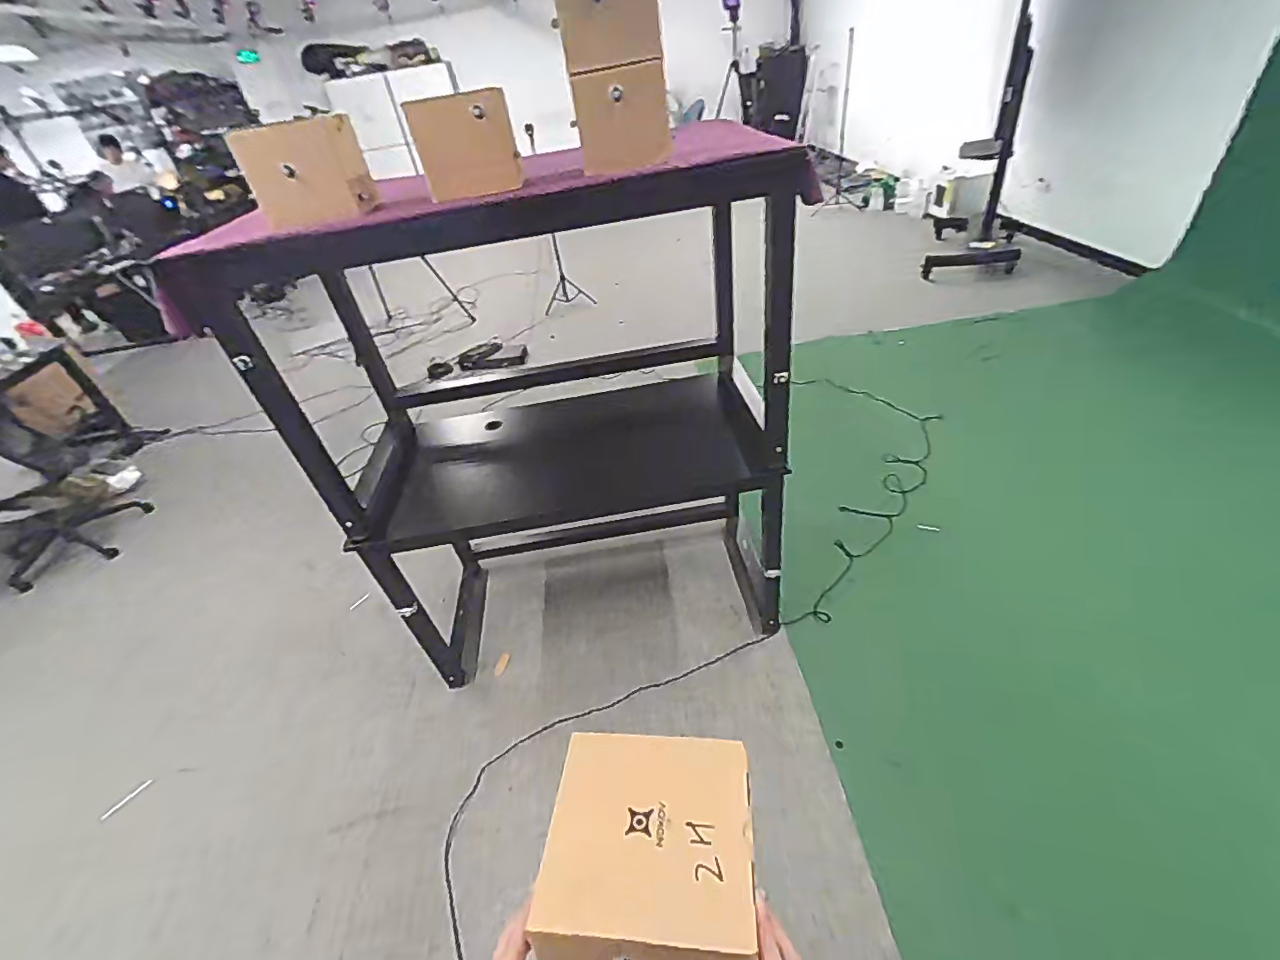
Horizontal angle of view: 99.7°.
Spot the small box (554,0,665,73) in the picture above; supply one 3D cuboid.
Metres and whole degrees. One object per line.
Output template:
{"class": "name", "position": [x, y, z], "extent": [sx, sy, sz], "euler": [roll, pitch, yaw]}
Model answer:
{"class": "small box", "position": [-0.059, -0.837, 0.960], "extent": [0.179, 0.176, 0.168], "euler": [-9, 39, 4]}

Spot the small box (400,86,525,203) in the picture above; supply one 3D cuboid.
{"class": "small box", "position": [-0.339, -0.661, 1.068], "extent": [0.179, 0.176, 0.168], "euler": [-10, 37, -1]}

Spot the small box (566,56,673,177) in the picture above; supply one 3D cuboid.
{"class": "small box", "position": [-0.035, -0.710, 1.060], "extent": [0.179, 0.176, 0.168], "euler": [-8, 38, 4]}

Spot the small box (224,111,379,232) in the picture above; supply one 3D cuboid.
{"class": "small box", "position": [-0.643, -0.604, 1.059], "extent": [0.179, 0.176, 0.168], "euler": [-12, 38, -1]}

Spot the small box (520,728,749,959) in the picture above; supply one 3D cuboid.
{"class": "small box", "position": [0.010, 0.360, 0.508], "extent": [0.179, 0.176, 0.168], "euler": [-1, 32, 8]}
